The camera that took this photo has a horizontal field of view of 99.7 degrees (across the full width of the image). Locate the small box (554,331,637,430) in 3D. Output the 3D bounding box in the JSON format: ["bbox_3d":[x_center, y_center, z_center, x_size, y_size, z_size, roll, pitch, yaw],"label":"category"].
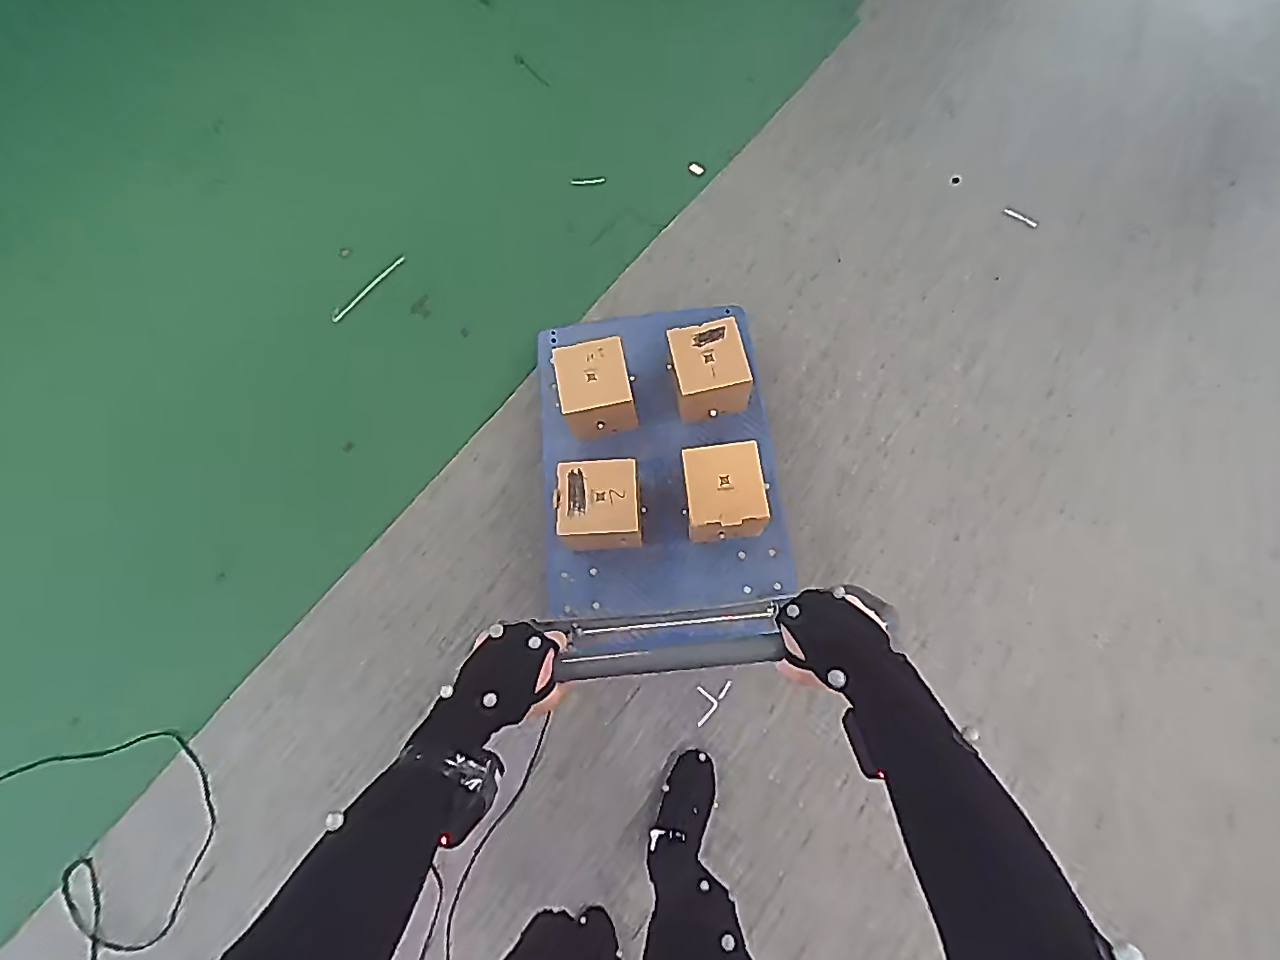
[{"bbox_3d":[-0.104,-0.234,1.320,0.168,0.176,0.179,-11,73,-1],"label":"small box"}]

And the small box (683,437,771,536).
[{"bbox_3d":[0.188,0.019,1.227,0.168,0.176,0.179,-7,73,2],"label":"small box"}]

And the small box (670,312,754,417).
[{"bbox_3d":[0.167,-0.275,1.316,0.168,0.176,0.179,-12,74,1],"label":"small box"}]
